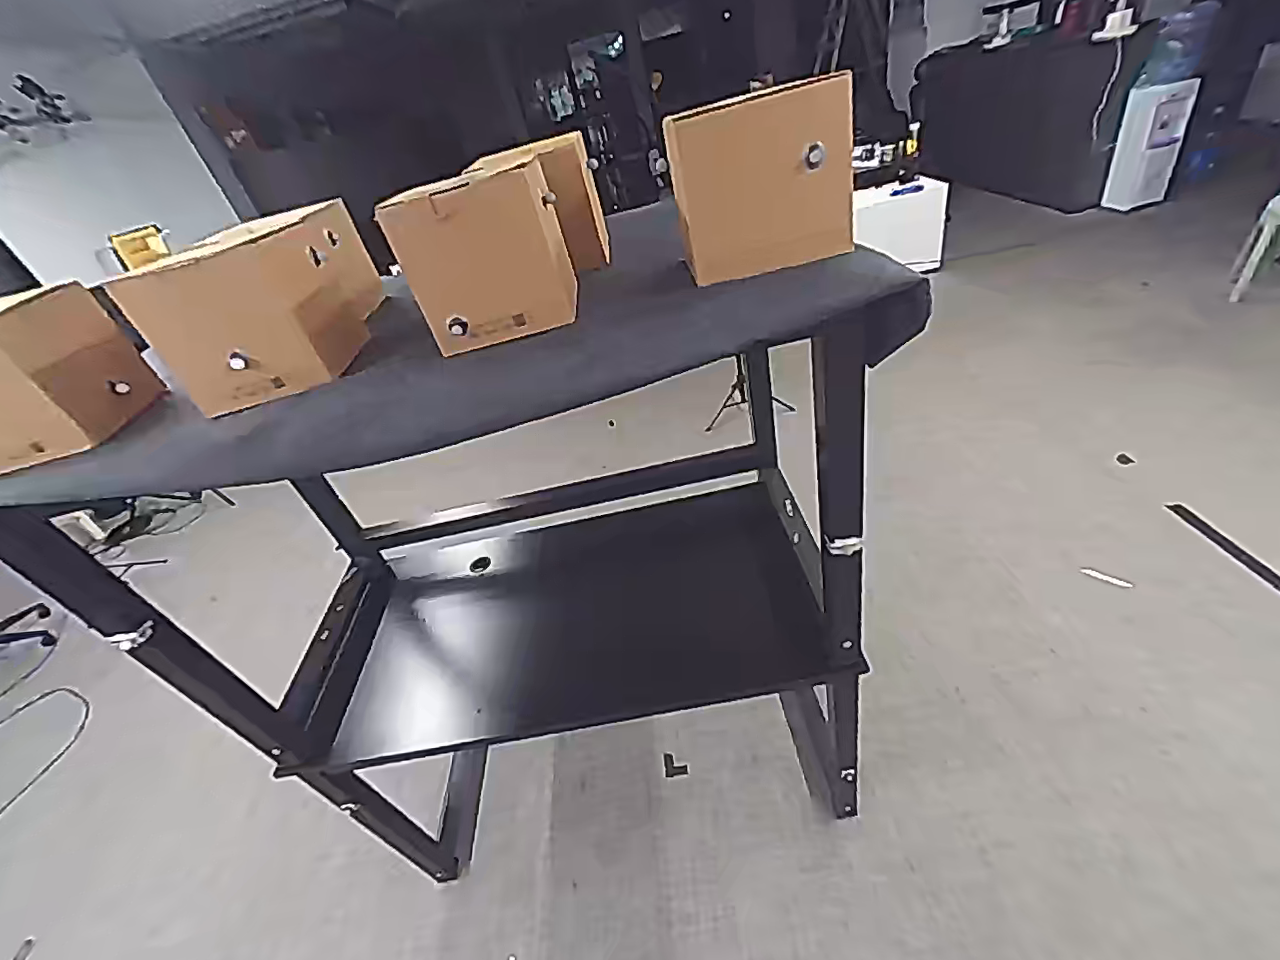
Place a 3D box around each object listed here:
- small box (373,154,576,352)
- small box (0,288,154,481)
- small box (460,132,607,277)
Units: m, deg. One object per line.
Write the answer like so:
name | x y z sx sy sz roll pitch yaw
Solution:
small box | -0.180 -0.270 0.654 0.168 0.176 0.179 -14 35 4
small box | -0.783 -0.118 0.685 0.168 0.176 0.179 -17 37 -1
small box | -0.150 -0.412 0.832 0.168 0.176 0.179 -13 38 5
